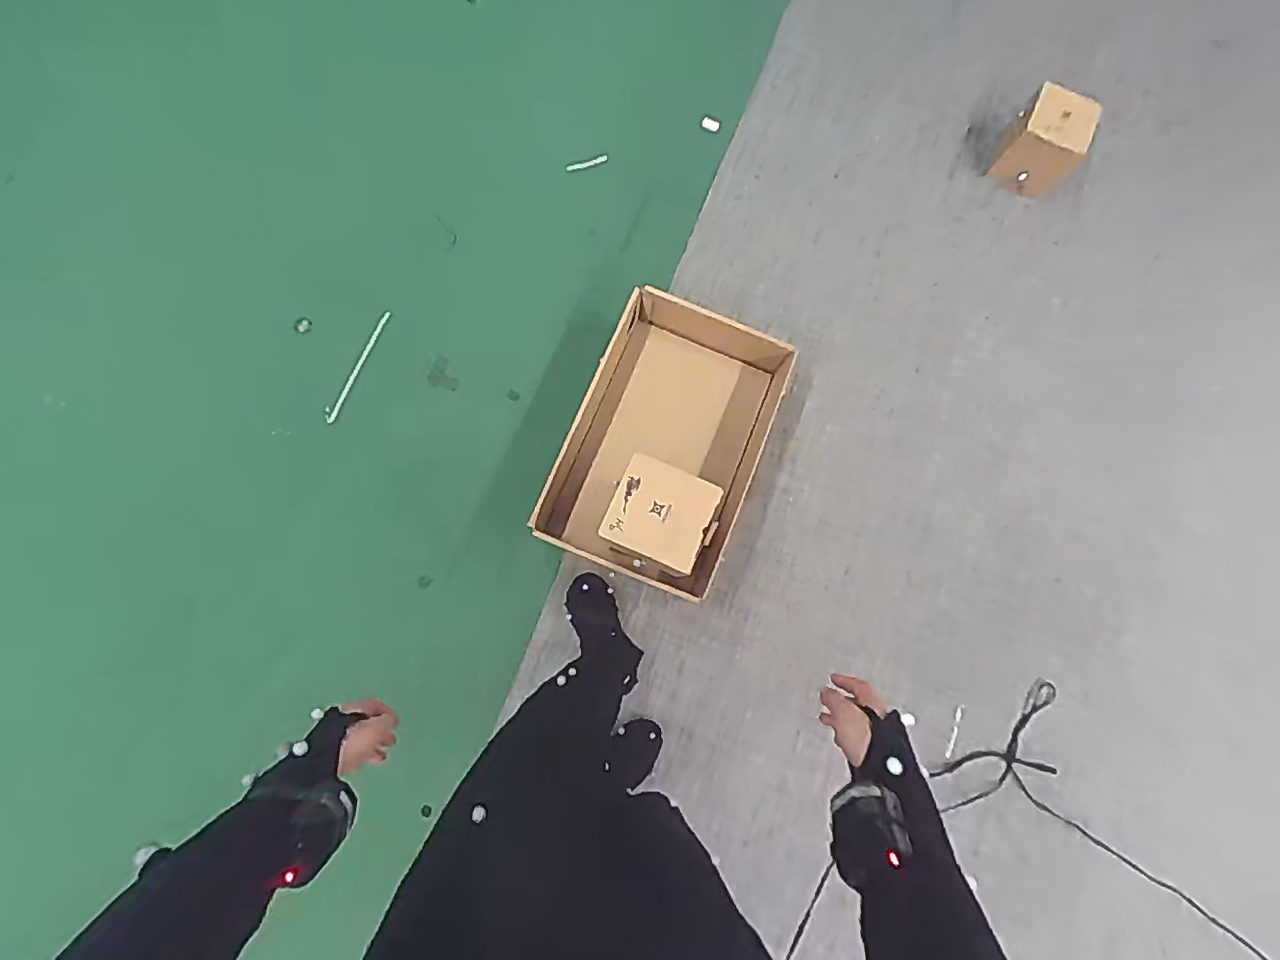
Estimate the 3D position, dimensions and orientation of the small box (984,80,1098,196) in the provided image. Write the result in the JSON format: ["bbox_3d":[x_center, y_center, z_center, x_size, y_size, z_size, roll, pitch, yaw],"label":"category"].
[{"bbox_3d":[1.094,-0.932,1.488,0.168,0.176,0.179,26,79,3],"label":"small box"}]

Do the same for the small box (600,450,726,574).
[{"bbox_3d":[0.036,0.065,1.013,0.179,0.176,0.168,24,79,0],"label":"small box"}]
